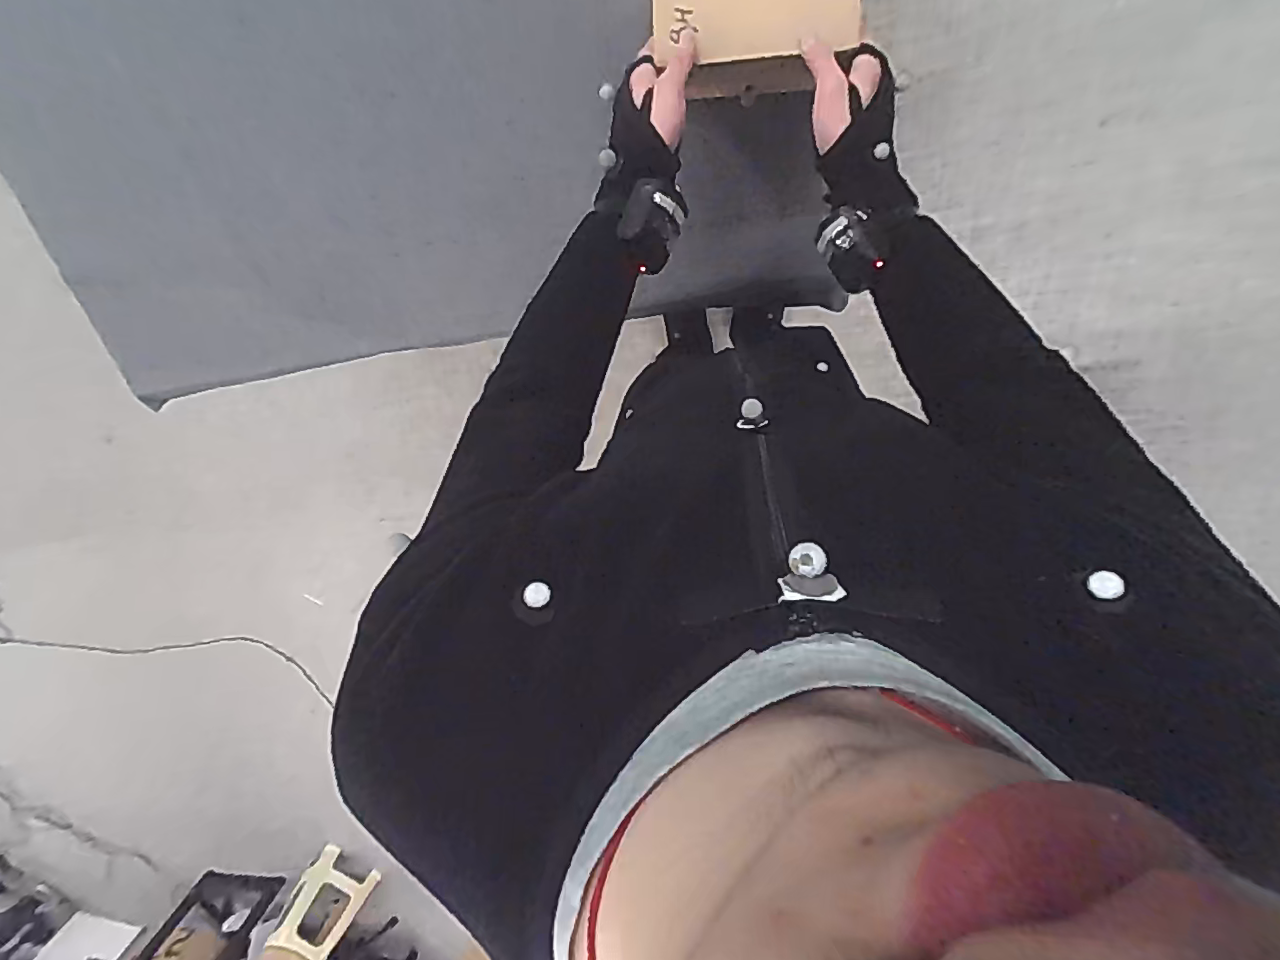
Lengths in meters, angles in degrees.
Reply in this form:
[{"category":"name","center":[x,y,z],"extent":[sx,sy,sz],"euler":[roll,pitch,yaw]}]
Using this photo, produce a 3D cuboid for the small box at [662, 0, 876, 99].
[{"category":"small box","center":[0.110,-0.463,0.494],"extent":[0.179,0.176,0.168],"euler":[1,117,6]}]
